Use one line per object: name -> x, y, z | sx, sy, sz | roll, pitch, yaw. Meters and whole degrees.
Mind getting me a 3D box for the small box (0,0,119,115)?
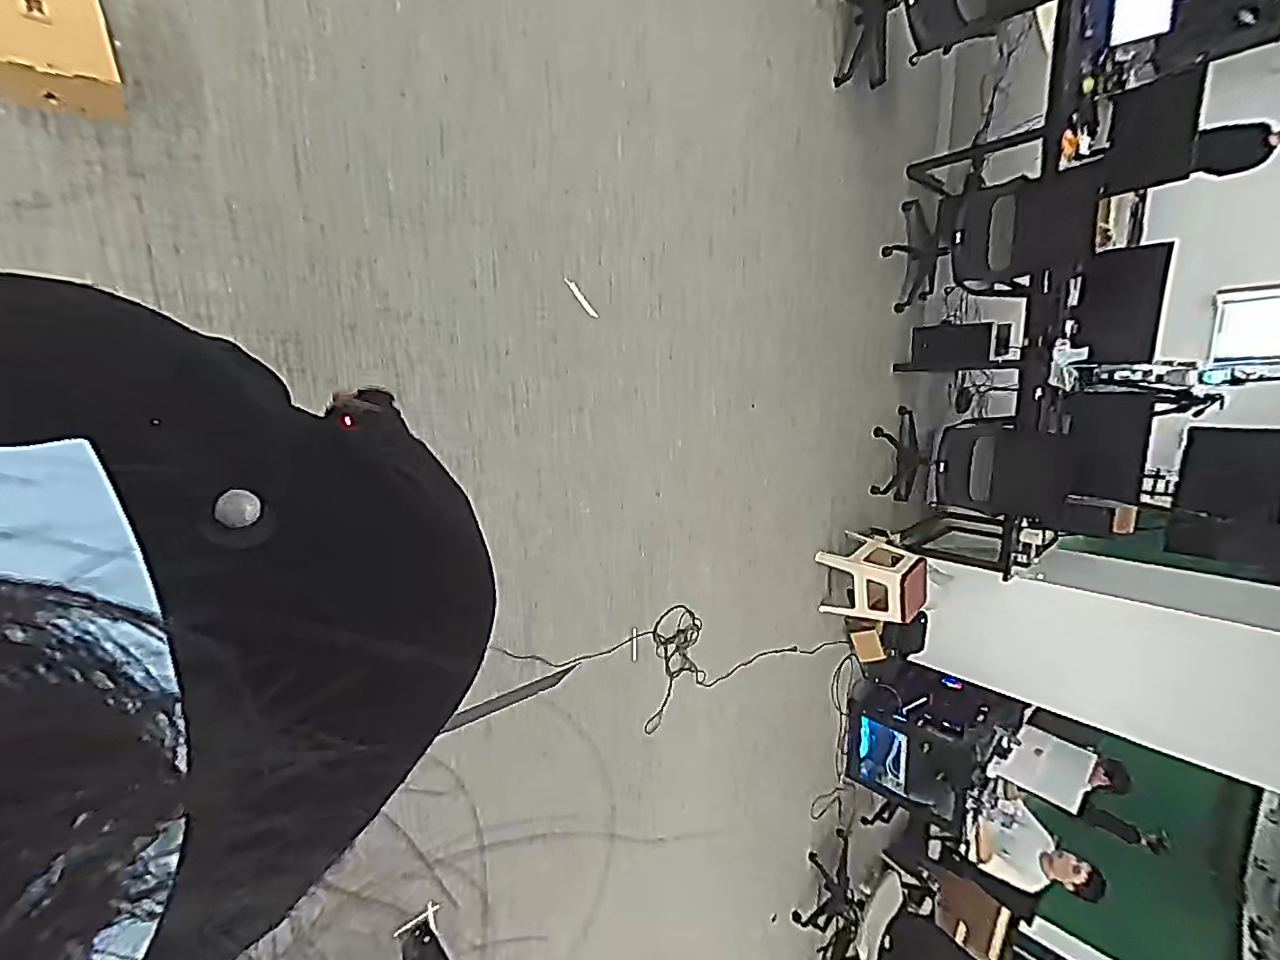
small box -> -1.012, -0.756, 0.908 | 0.168, 0.176, 0.179 | -17, 108, -40
